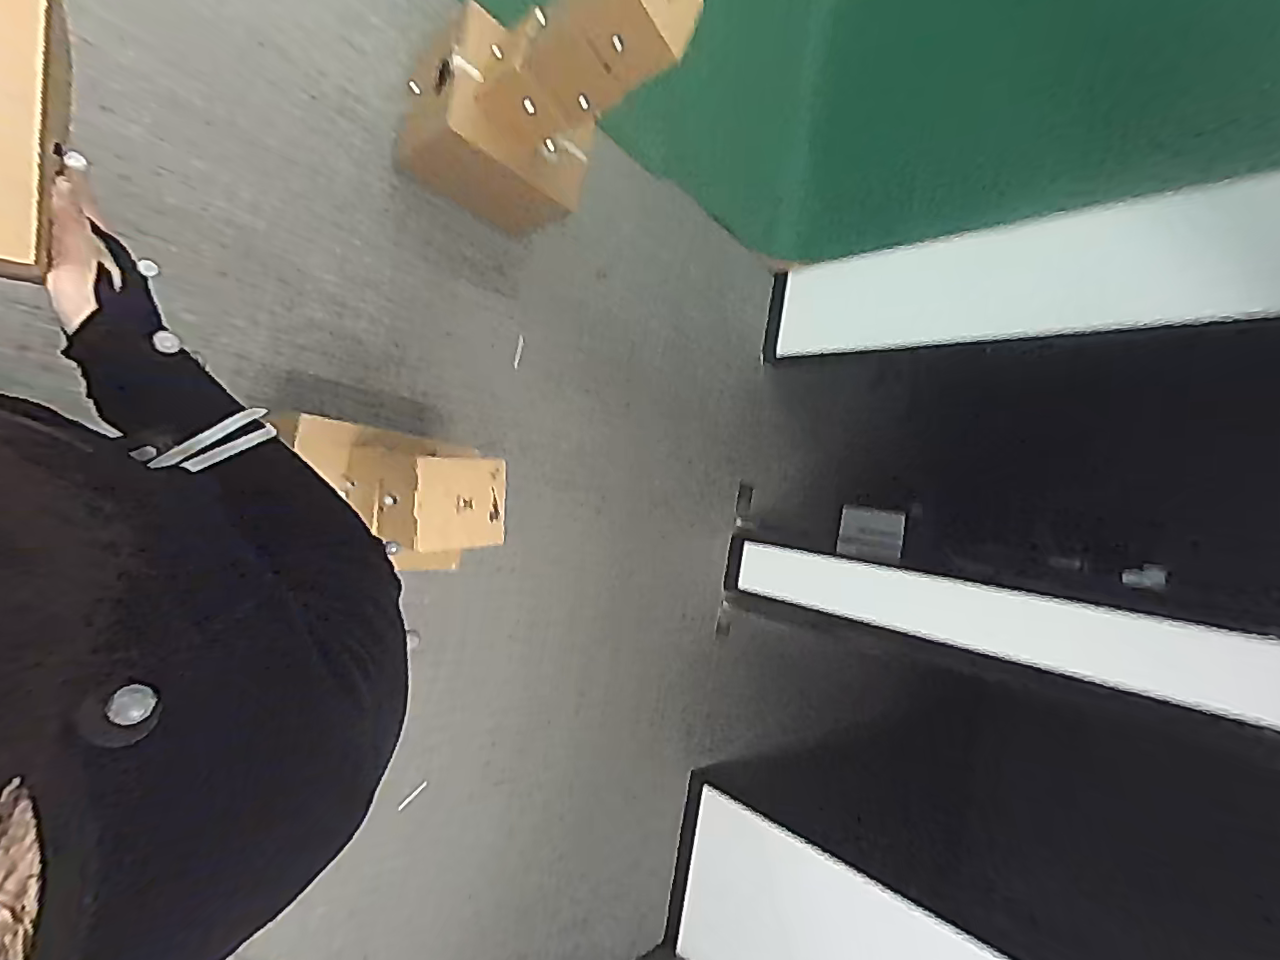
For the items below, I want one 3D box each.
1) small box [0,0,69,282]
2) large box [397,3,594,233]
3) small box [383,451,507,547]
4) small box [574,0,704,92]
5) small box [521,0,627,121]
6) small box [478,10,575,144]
[{"bbox_3d":[-0.445,-0.224,0.300,0.168,0.176,0.179,2,100,-44],"label":"small box"},{"bbox_3d":[-0.393,-0.948,1.489,0.408,0.320,0.320,13,86,-48],"label":"large box"},{"bbox_3d":[-0.378,0.032,1.040,0.179,0.176,0.168,0,94,-46],"label":"small box"},{"bbox_3d":[-0.005,-0.925,1.069,0.168,0.176,0.179,34,70,-44],"label":"small box"},{"bbox_3d":[-0.124,-0.929,1.183,0.179,0.176,0.168,32,71,-43],"label":"small box"},{"bbox_3d":[-0.249,-0.940,1.287,0.179,0.176,0.168,28,74,-45],"label":"small box"}]
